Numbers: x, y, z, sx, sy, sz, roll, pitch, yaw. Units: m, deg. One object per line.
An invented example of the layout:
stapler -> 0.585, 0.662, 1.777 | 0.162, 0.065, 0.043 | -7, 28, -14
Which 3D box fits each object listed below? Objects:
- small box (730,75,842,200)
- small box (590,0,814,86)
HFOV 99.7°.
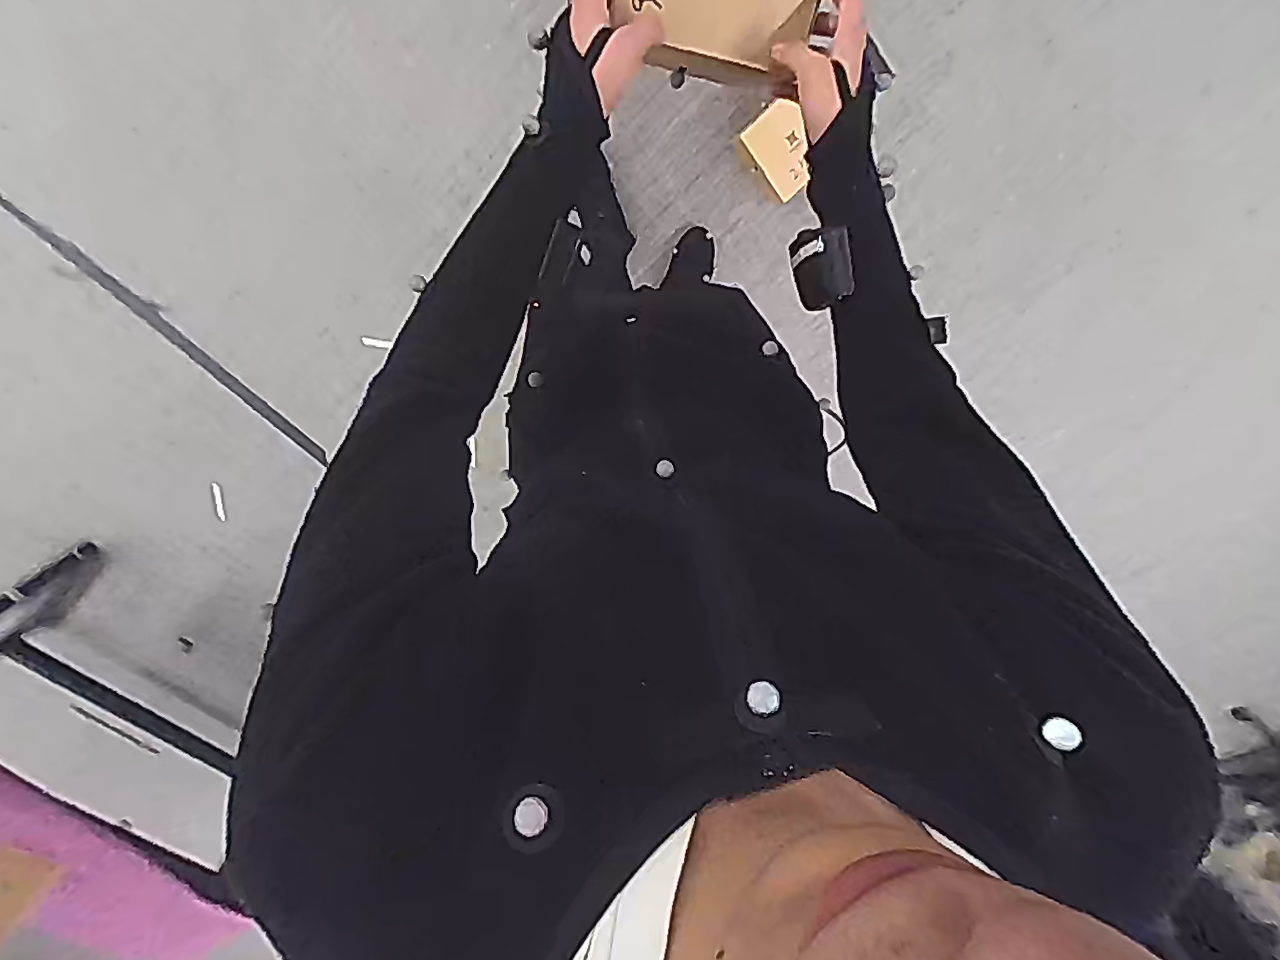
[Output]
small box -> 0.326, -0.772, 1.241 | 0.168, 0.176, 0.179 | -36, 113, 19
small box -> 0.057, -0.480, 0.495 | 0.179, 0.176, 0.168 | 4, 122, -13
